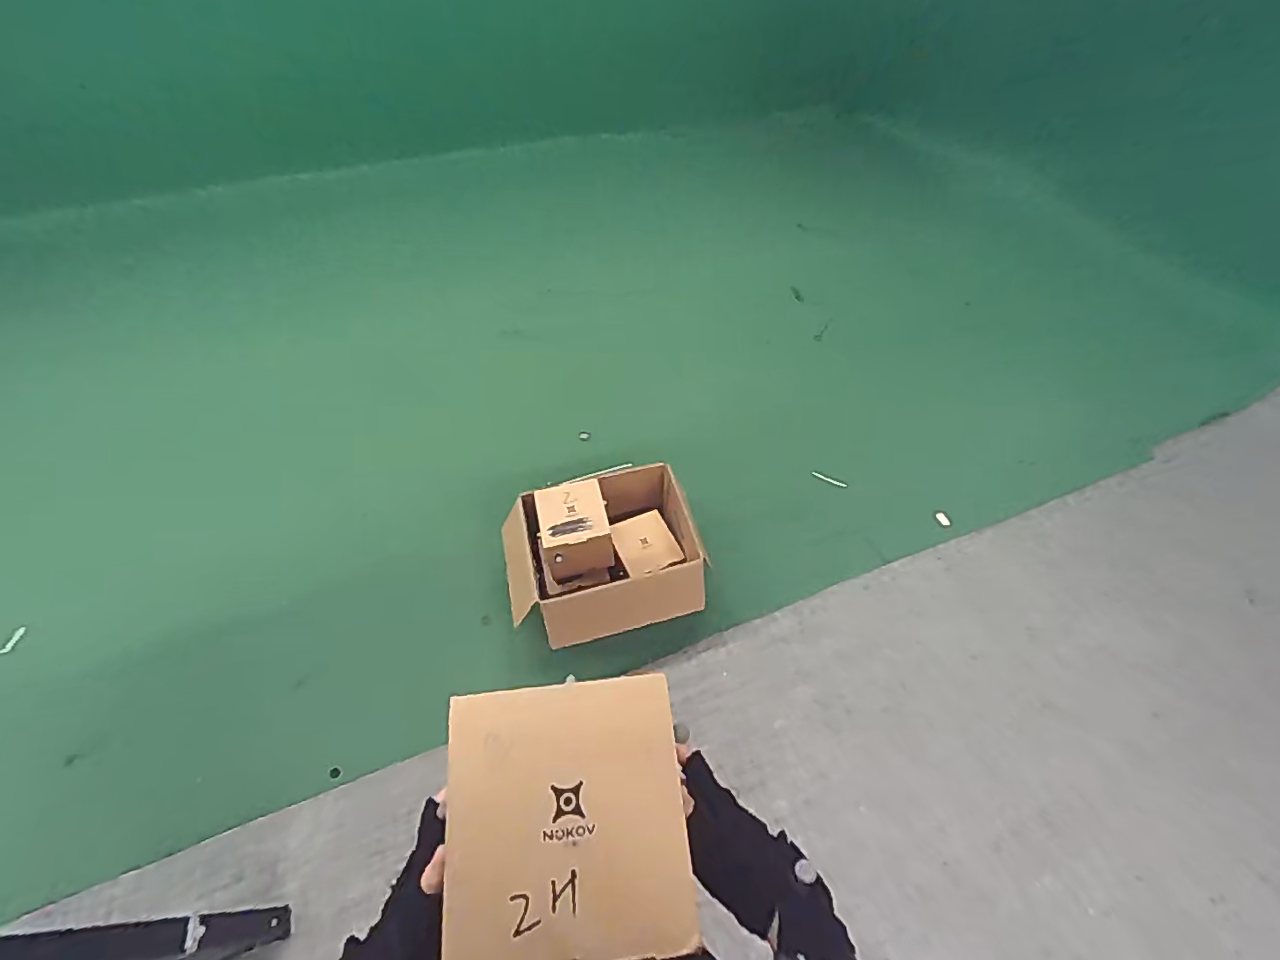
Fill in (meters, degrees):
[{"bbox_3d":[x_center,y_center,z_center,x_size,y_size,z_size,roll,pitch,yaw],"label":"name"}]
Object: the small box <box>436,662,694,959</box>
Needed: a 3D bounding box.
[{"bbox_3d":[-0.059,0.260,0.449,0.168,0.176,0.179,-4,64,-6],"label":"small box"}]
